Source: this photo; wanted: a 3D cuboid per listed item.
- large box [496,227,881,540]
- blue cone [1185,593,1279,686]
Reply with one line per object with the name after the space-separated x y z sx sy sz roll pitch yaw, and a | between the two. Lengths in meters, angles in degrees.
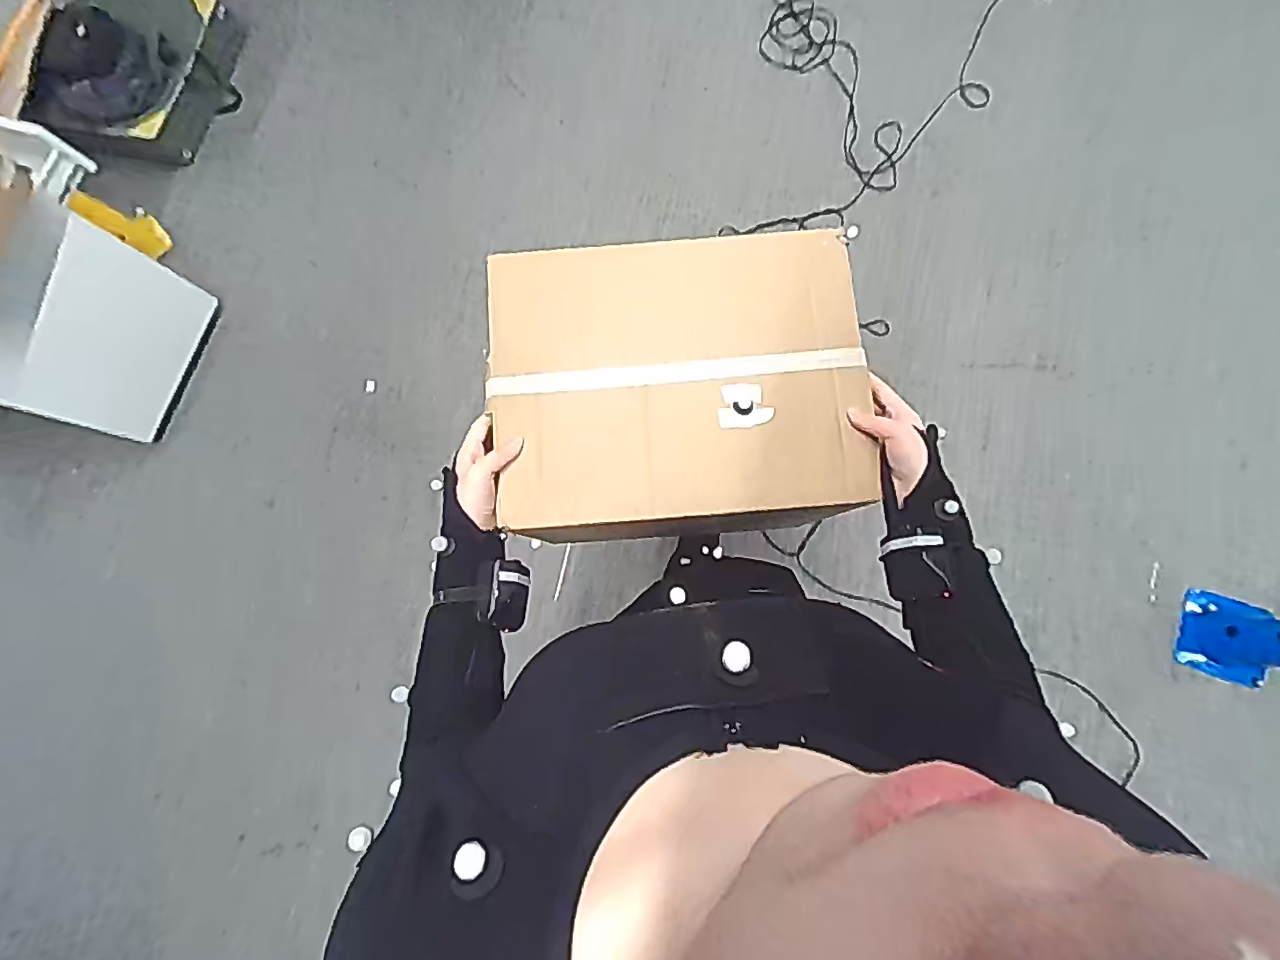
0.043 -0.099 0.736 0.408 0.320 0.320 -4 80 -1 | large box
1.451 0.361 1.181 0.192 0.380 0.193 20 81 8 | blue cone
